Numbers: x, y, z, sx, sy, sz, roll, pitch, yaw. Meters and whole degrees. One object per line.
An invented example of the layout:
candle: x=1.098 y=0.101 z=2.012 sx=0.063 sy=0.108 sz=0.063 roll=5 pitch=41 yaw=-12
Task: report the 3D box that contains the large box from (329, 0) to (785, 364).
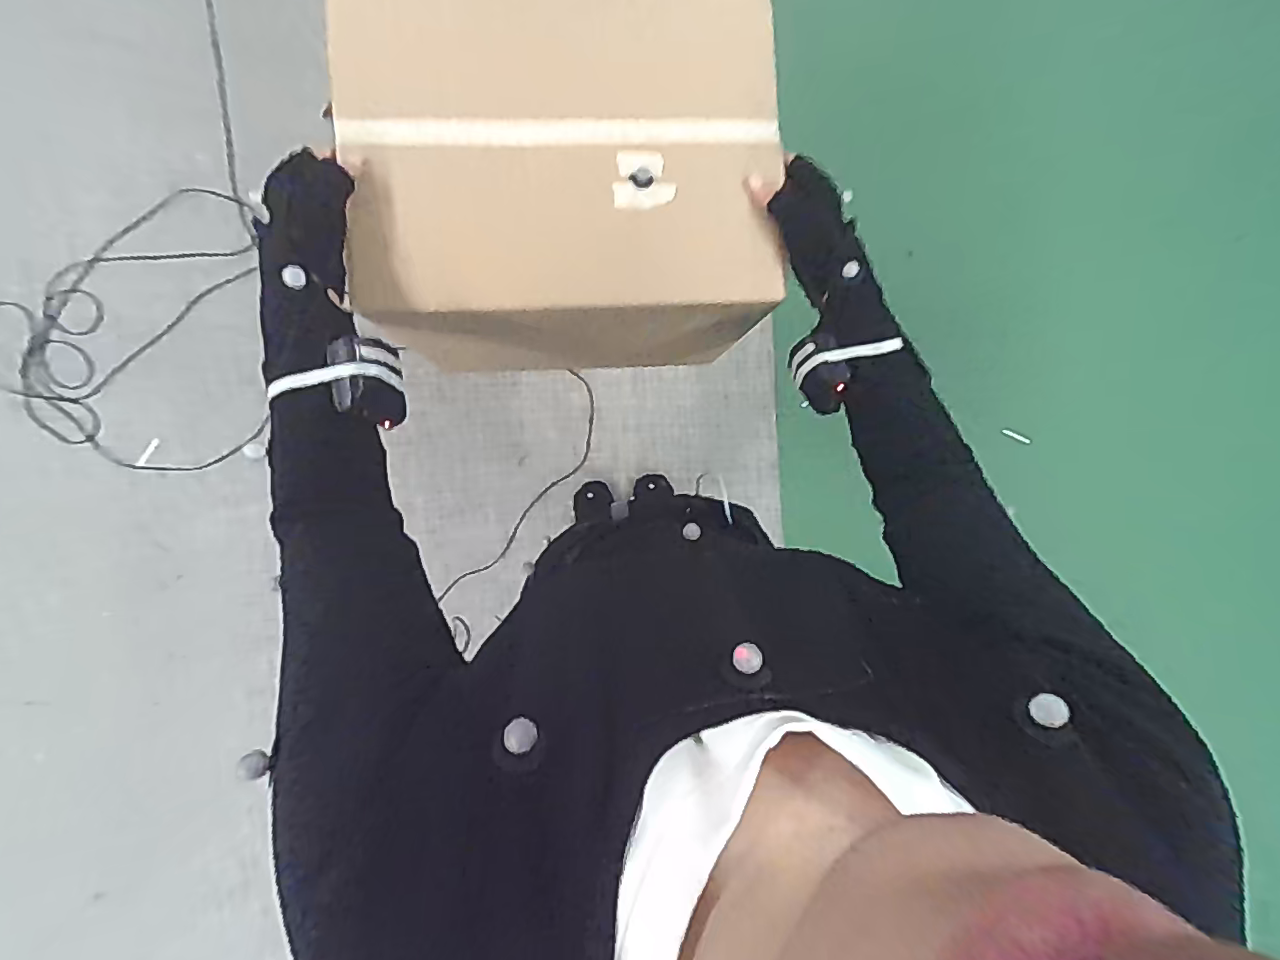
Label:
large box: x=-0.085 y=-0.329 z=0.642 sx=0.408 sy=0.320 sz=0.320 roll=-4 pitch=92 yaw=-6
